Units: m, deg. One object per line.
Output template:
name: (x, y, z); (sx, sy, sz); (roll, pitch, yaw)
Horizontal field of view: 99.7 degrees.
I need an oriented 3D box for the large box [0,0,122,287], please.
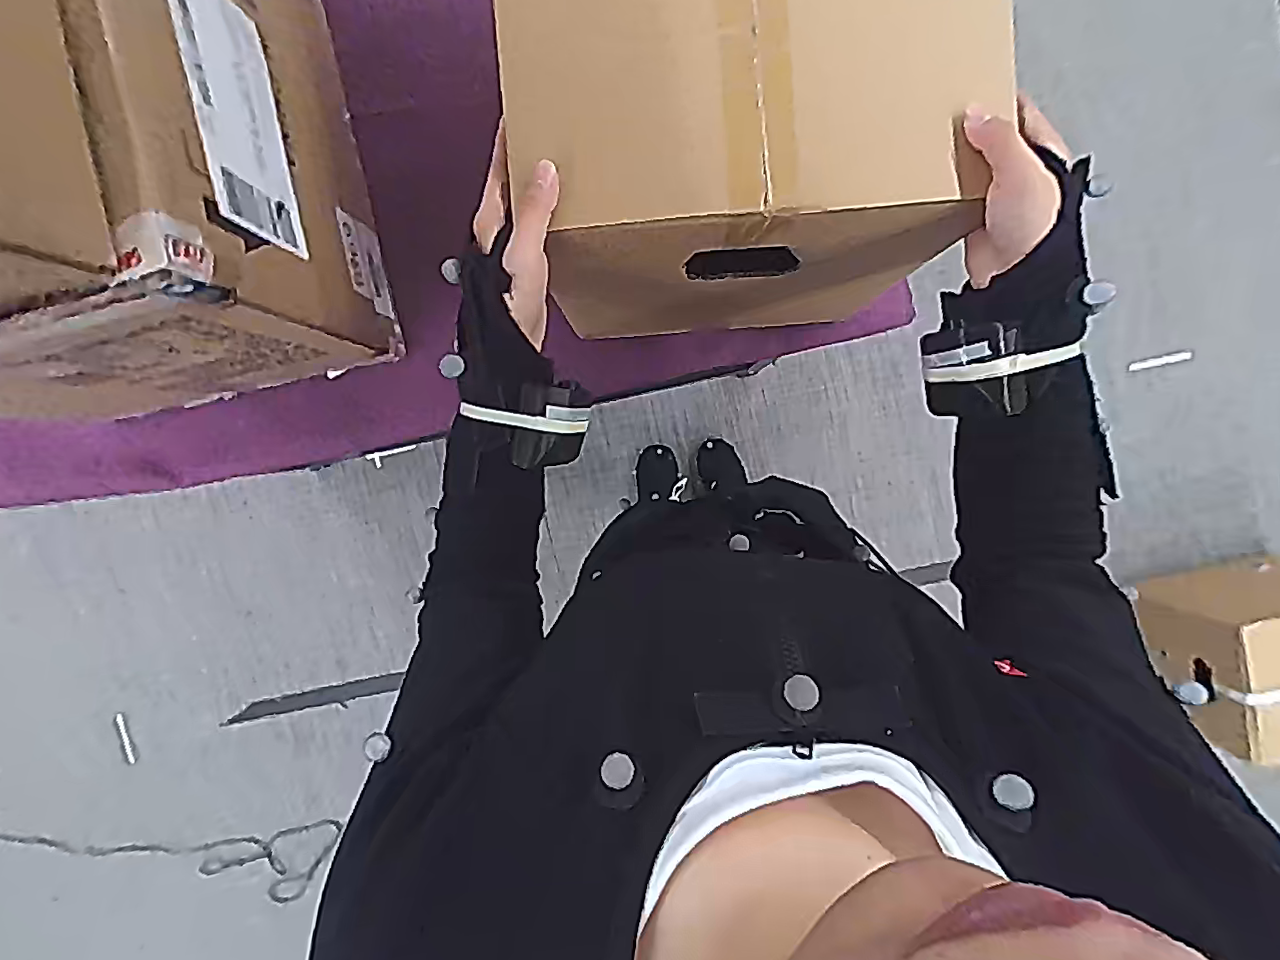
large box: (-0.517, -0.292, 0.190); (0.320, 0.320, 0.408); (-11, 94, 6)
